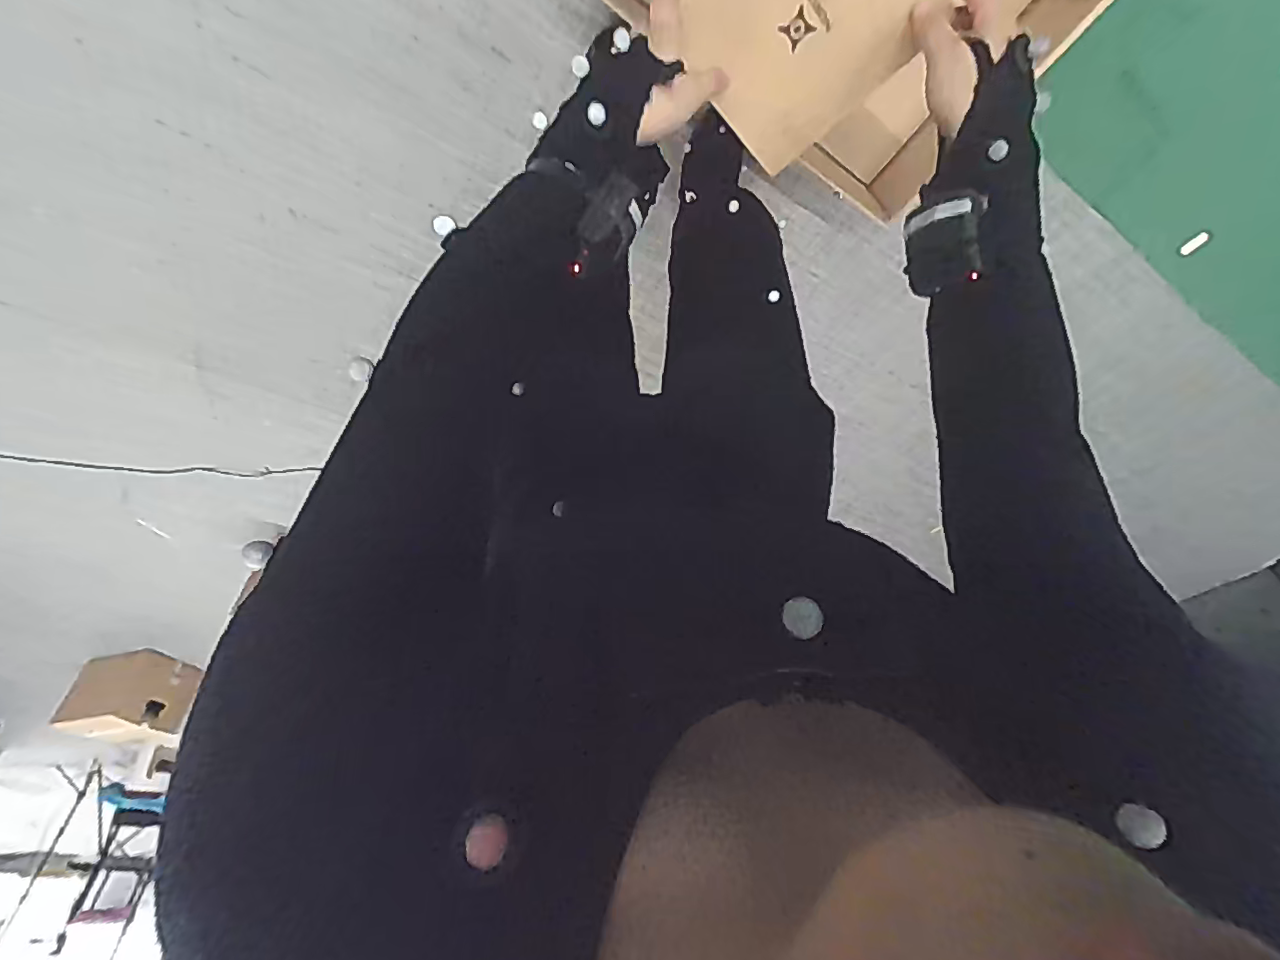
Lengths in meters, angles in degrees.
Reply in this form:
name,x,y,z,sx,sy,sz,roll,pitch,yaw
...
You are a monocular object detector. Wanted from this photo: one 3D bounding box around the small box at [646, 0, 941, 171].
name,x,y,z,sx,sy,sz,roll,pitch,yaw
small box,0.127,-0.433,0.478,0.168,0.176,0.179,29,138,-33
